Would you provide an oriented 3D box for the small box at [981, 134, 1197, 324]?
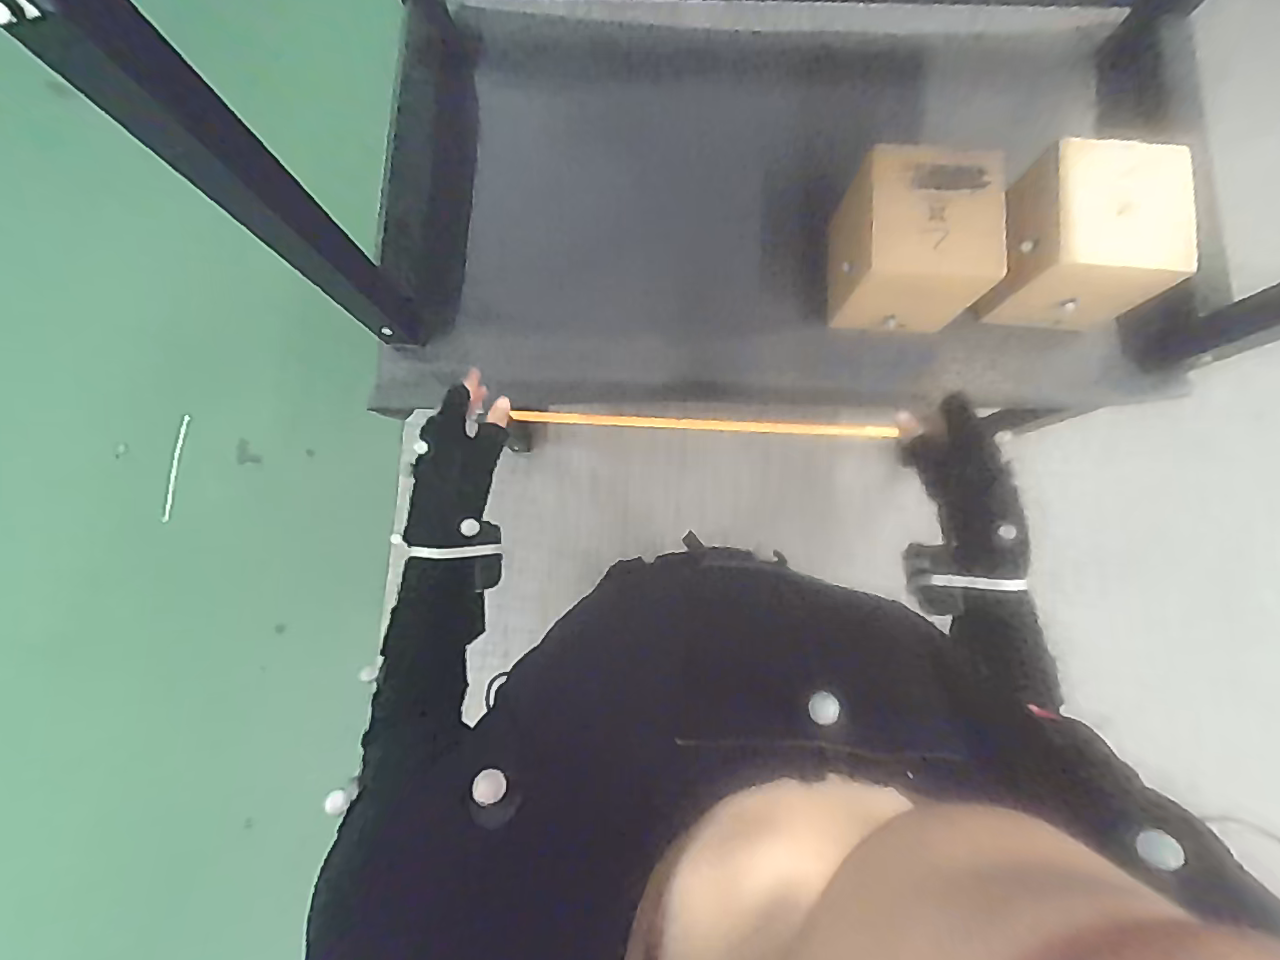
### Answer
[{"bbox_3d":[0.602,-0.333,0.748,0.168,0.176,0.179,6,81,2],"label":"small box"}]
